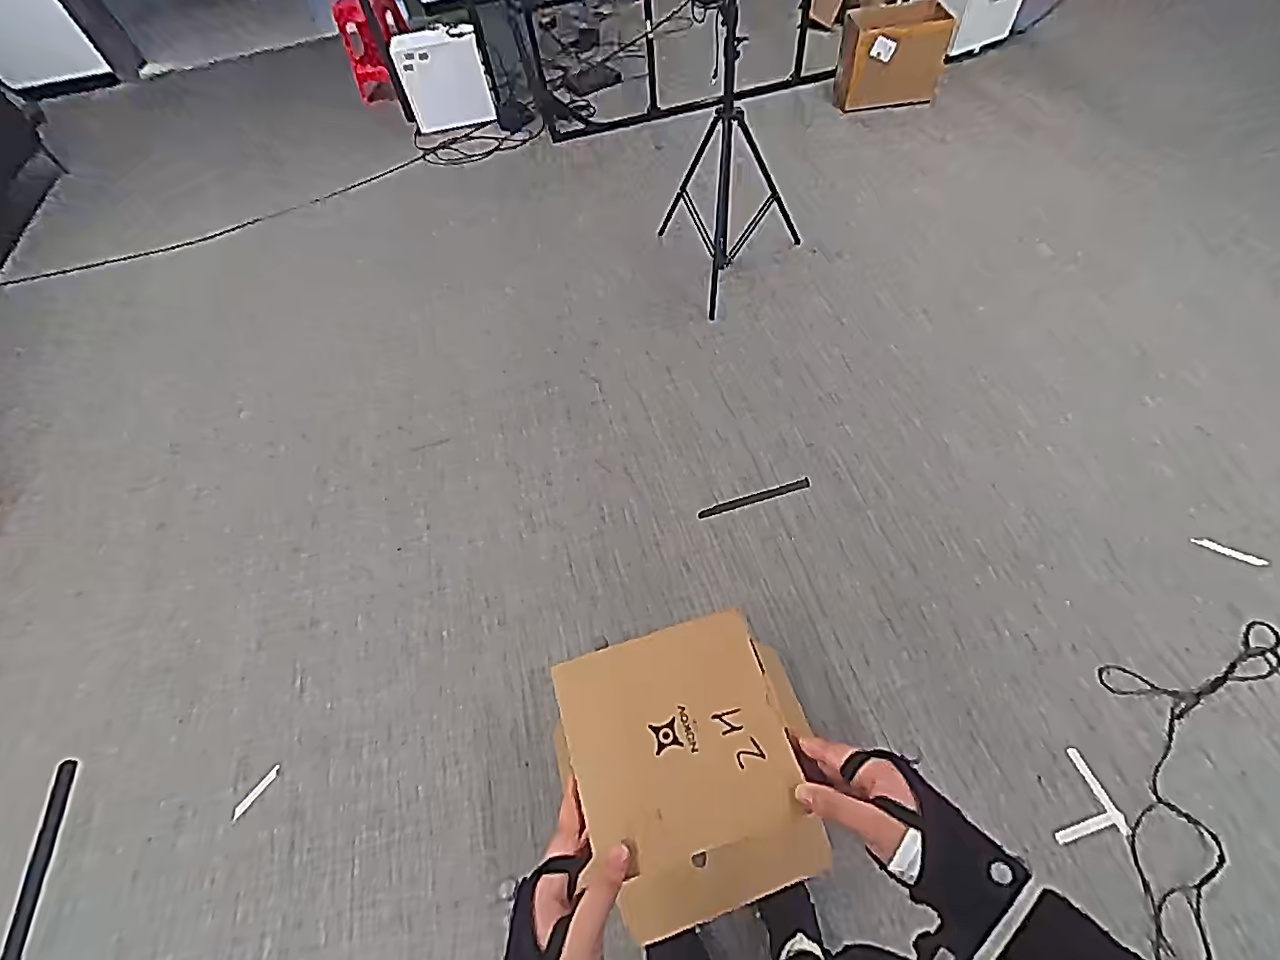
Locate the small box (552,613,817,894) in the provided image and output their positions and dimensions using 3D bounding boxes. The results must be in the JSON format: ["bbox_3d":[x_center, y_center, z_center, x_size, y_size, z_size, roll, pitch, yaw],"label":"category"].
[{"bbox_3d":[0.033,0.243,0.501,0.179,0.176,0.168,-16,65,-6],"label":"small box"}]
